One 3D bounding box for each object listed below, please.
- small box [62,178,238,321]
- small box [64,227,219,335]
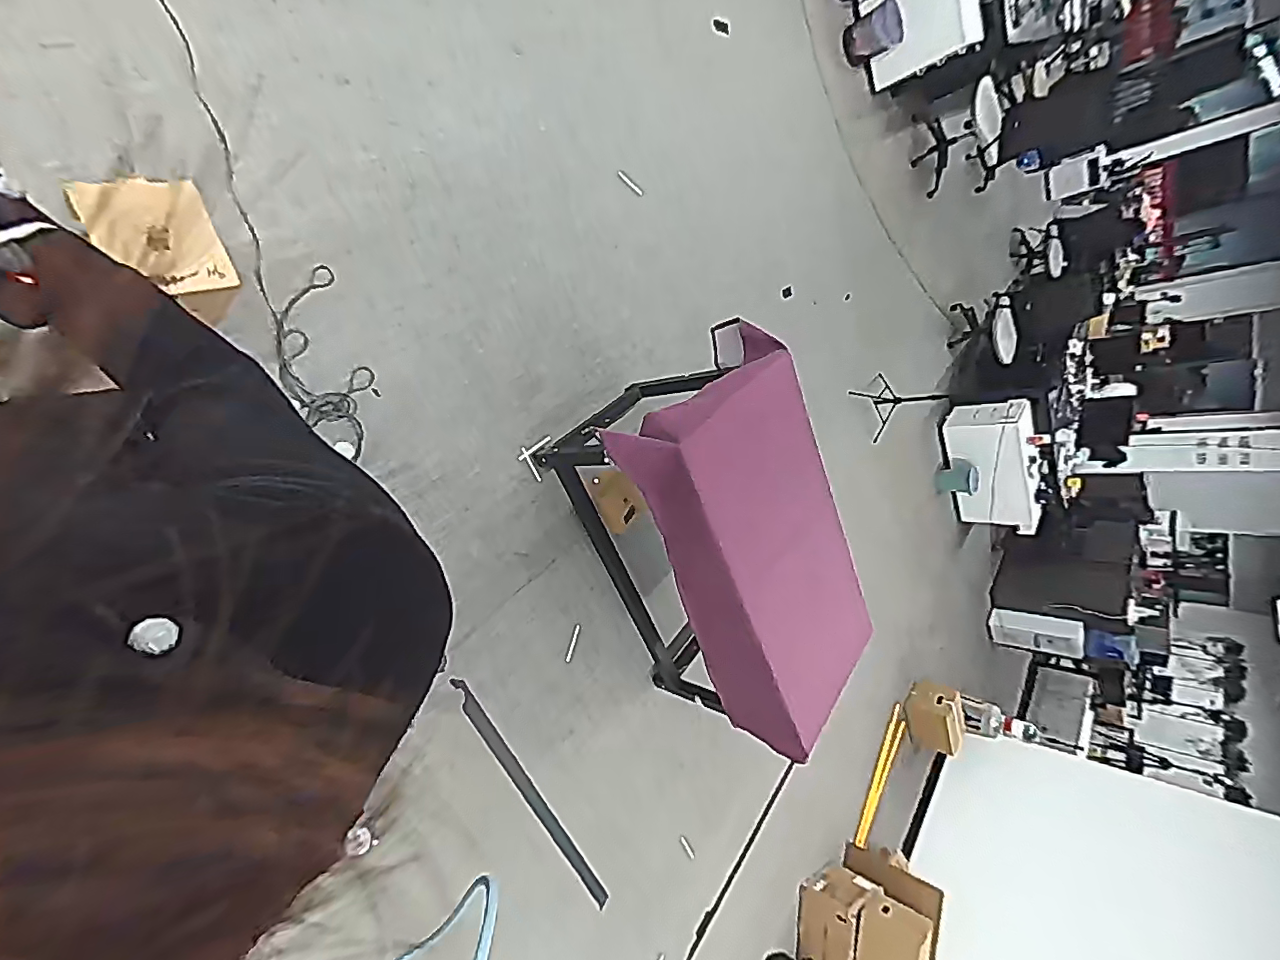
[{"bbox_3d":[-0.833,-0.391,0.928,0.168,0.176,0.179,-29,109,-39],"label":"small box"},{"bbox_3d":[-0.944,-0.396,1.048,0.179,0.176,0.168,-38,115,-36],"label":"small box"}]
